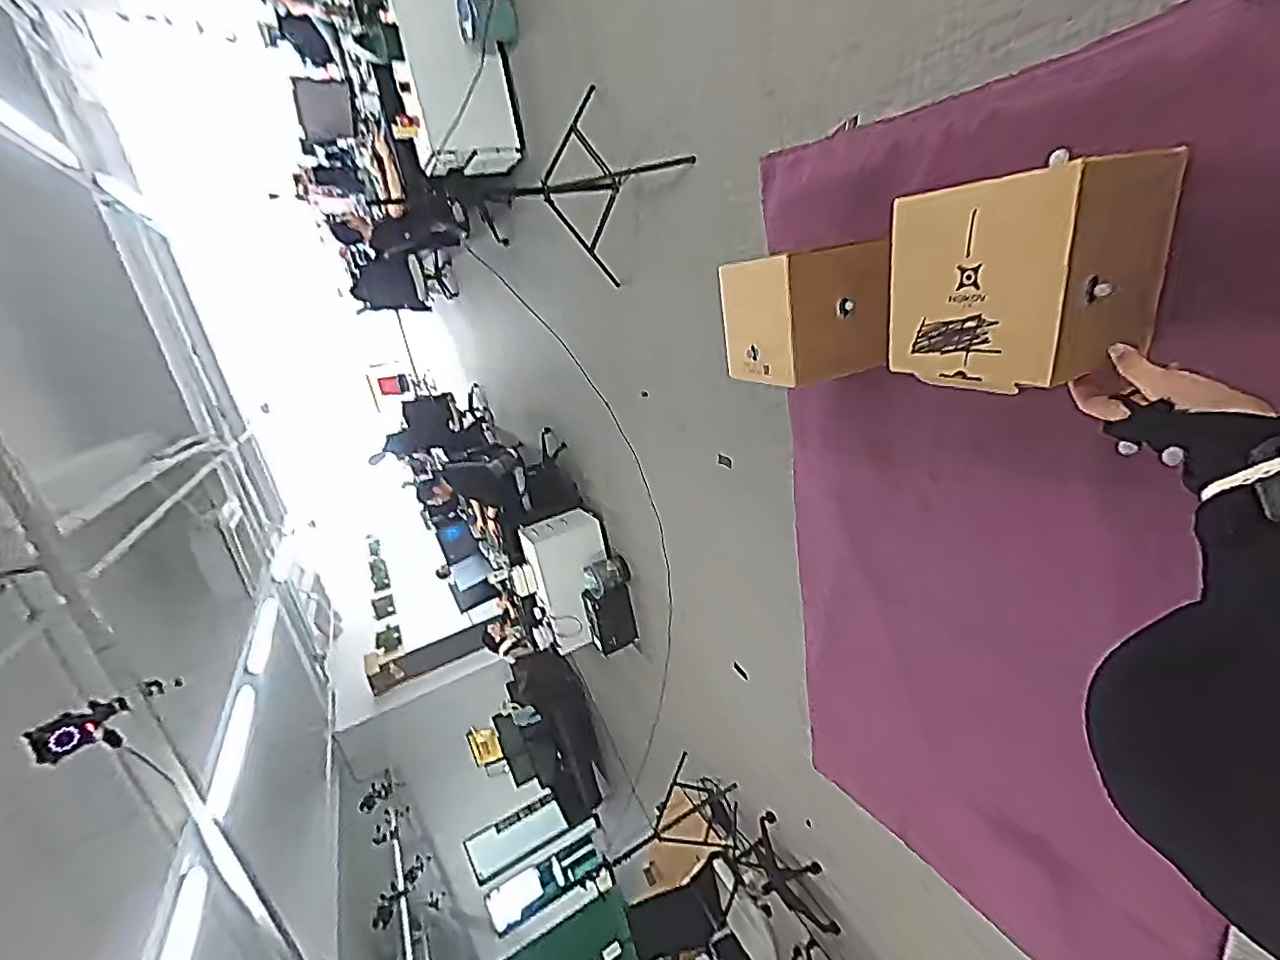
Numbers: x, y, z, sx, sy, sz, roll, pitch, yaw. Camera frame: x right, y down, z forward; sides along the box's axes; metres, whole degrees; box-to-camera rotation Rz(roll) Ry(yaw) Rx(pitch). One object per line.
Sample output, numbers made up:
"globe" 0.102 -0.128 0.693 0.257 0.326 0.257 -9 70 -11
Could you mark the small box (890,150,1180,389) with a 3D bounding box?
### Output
"small box" 0.373 -0.201 0.529 0.168 0.176 0.179 30 133 58
